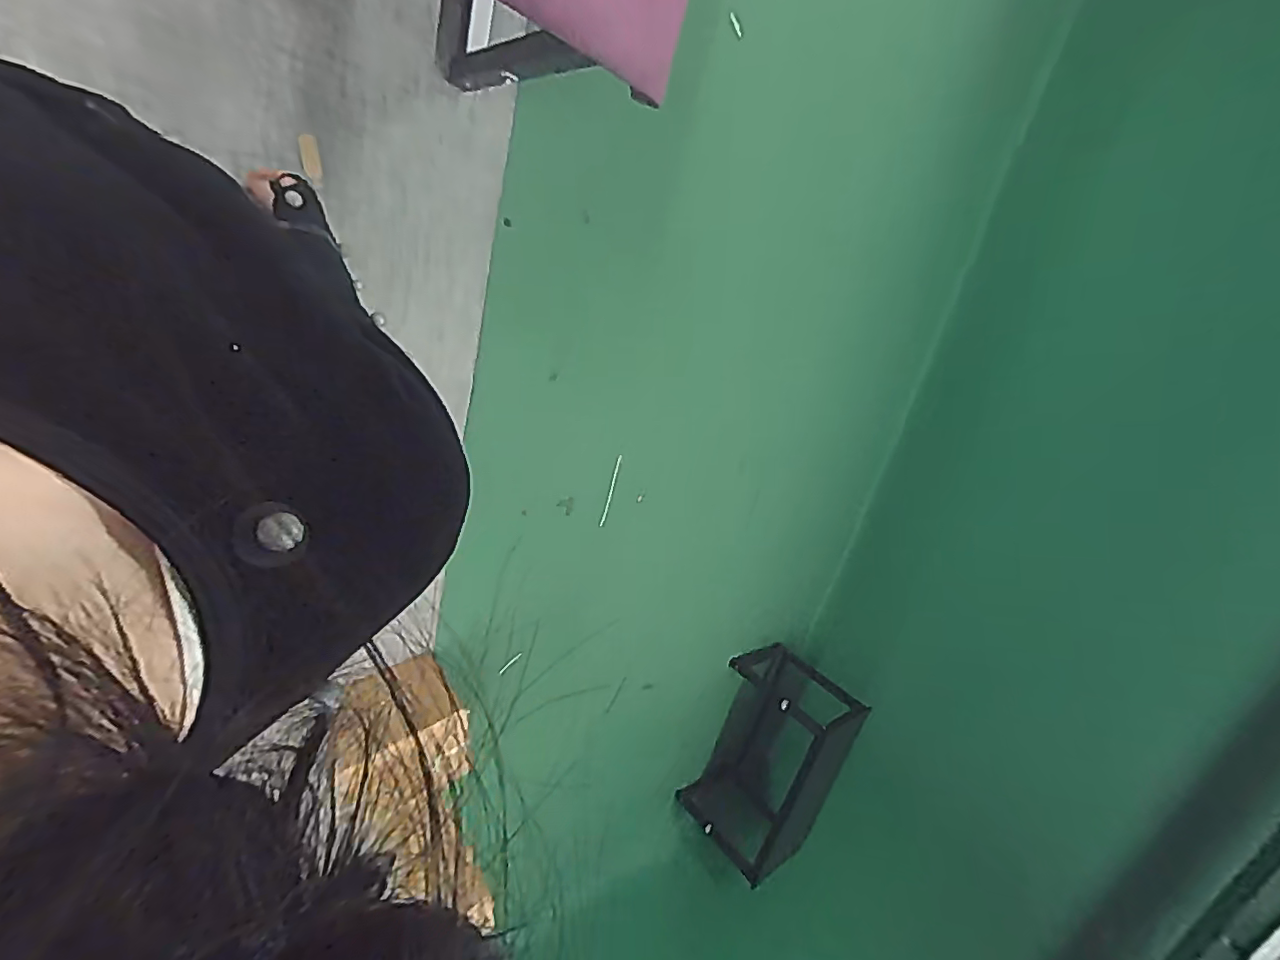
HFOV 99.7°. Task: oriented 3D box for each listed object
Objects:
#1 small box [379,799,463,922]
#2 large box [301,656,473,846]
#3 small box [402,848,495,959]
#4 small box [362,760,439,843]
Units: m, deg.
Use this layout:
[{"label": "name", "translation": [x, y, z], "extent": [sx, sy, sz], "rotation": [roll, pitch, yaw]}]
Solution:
[{"label": "small box", "translation": [-0.588, 1.018, 1.460], "extent": [0.179, 0.176, 0.168], "rotation": [-19, 125, -36]}, {"label": "large box", "translation": [-0.813, 0.858, 1.763], "extent": [0.408, 0.320, 0.320], "rotation": [-19, 126, -37]}, {"label": "small box", "translation": [-0.482, 1.082, 1.352], "extent": [0.179, 0.176, 0.168], "rotation": [-17, 124, -35]}, {"label": "small box", "translation": [-0.690, 0.951, 1.570], "extent": [0.168, 0.176, 0.179], "rotation": [-18, 124, -36]}]
